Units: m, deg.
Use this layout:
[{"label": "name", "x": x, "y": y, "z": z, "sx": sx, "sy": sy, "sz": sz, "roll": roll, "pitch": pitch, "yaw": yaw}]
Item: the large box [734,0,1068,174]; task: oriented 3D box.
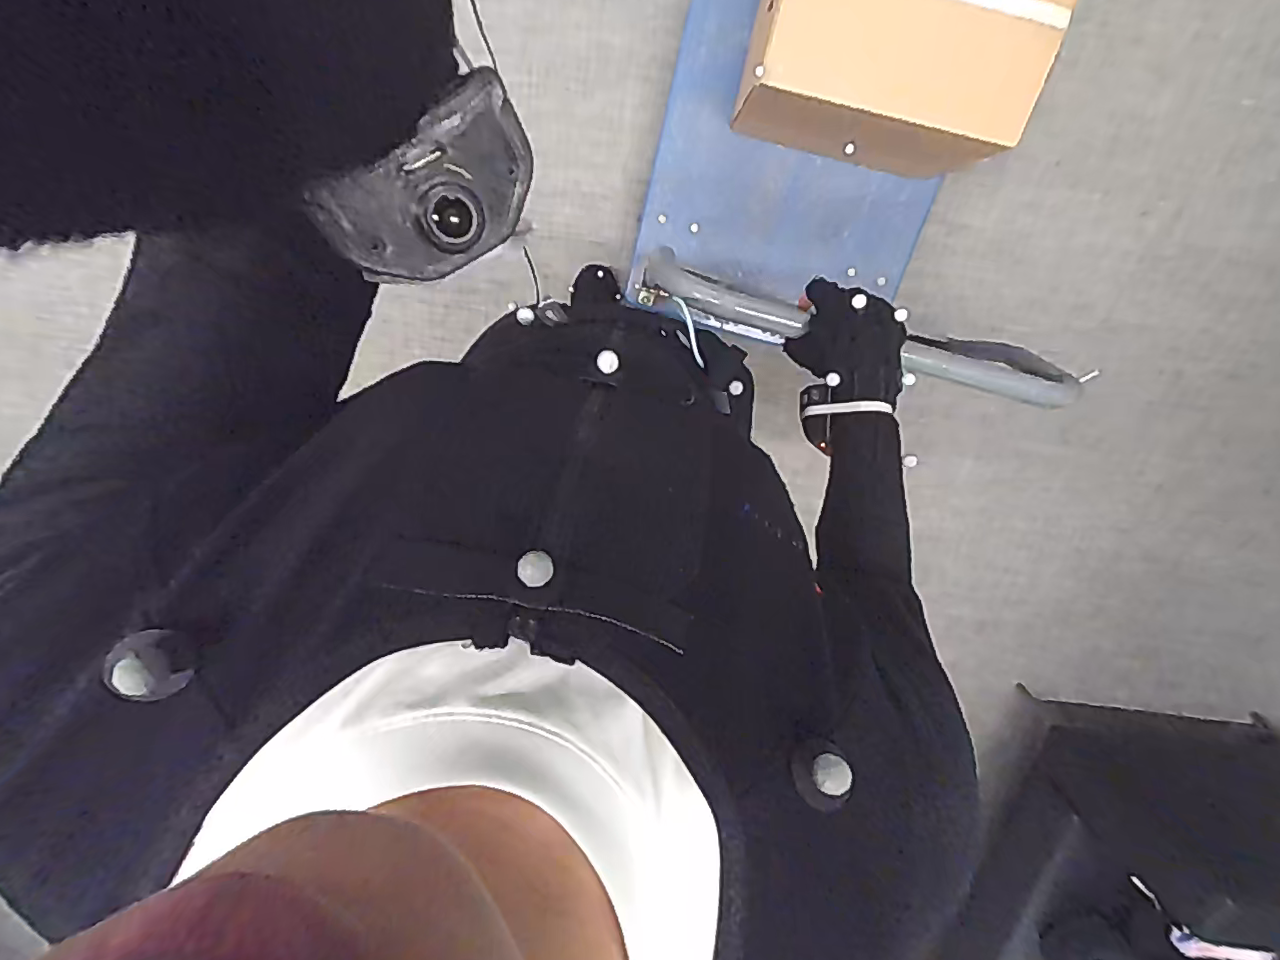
[{"label": "large box", "x": 0.407, "y": -0.741, "z": 0.900, "sx": 0.408, "sy": 0.320, "sz": 0.320, "roll": 12, "pitch": 110, "yaw": -3}]
